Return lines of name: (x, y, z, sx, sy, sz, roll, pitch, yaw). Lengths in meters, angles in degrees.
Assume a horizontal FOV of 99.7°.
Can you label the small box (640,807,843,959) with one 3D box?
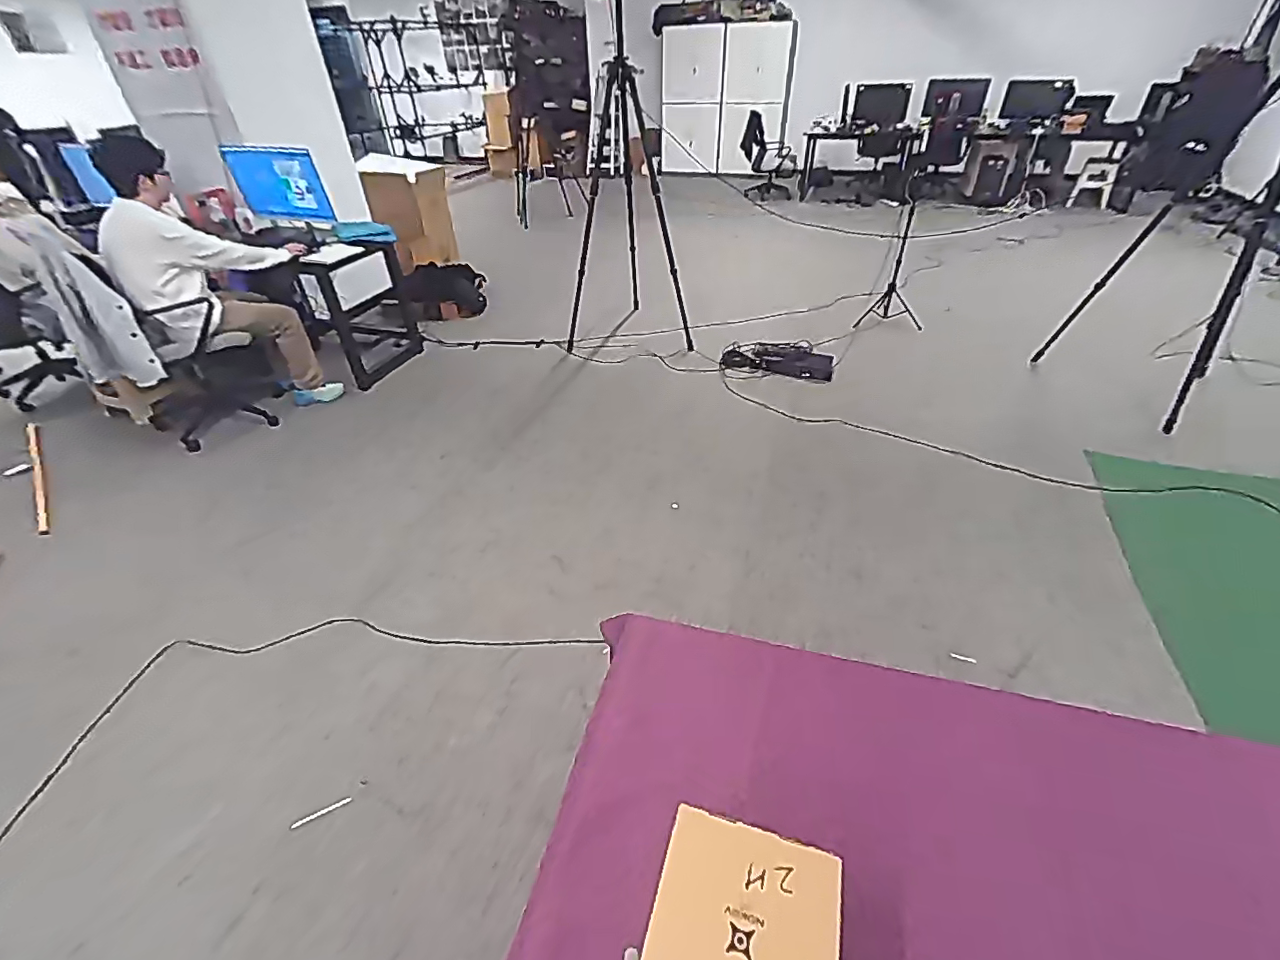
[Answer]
small box: (0.094, 0.470, 0.528, 0.168, 0.176, 0.179, 11, 39, 15)
